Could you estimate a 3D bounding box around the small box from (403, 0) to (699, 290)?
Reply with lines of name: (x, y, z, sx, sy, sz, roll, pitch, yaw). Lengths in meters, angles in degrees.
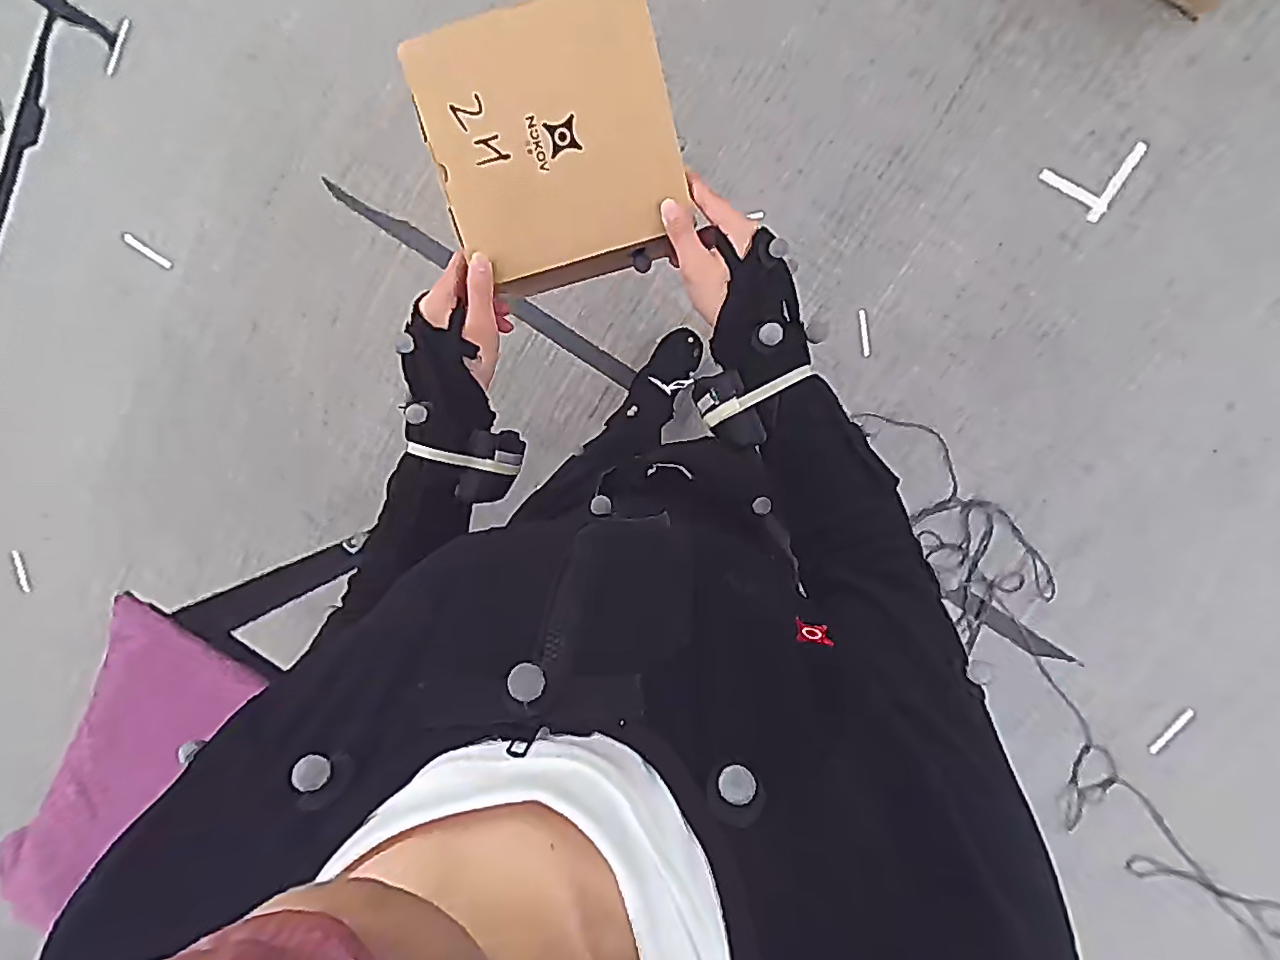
small box: (-0.059, -0.268, 0.457, 0.179, 0.176, 0.168, -14, 105, 5)
